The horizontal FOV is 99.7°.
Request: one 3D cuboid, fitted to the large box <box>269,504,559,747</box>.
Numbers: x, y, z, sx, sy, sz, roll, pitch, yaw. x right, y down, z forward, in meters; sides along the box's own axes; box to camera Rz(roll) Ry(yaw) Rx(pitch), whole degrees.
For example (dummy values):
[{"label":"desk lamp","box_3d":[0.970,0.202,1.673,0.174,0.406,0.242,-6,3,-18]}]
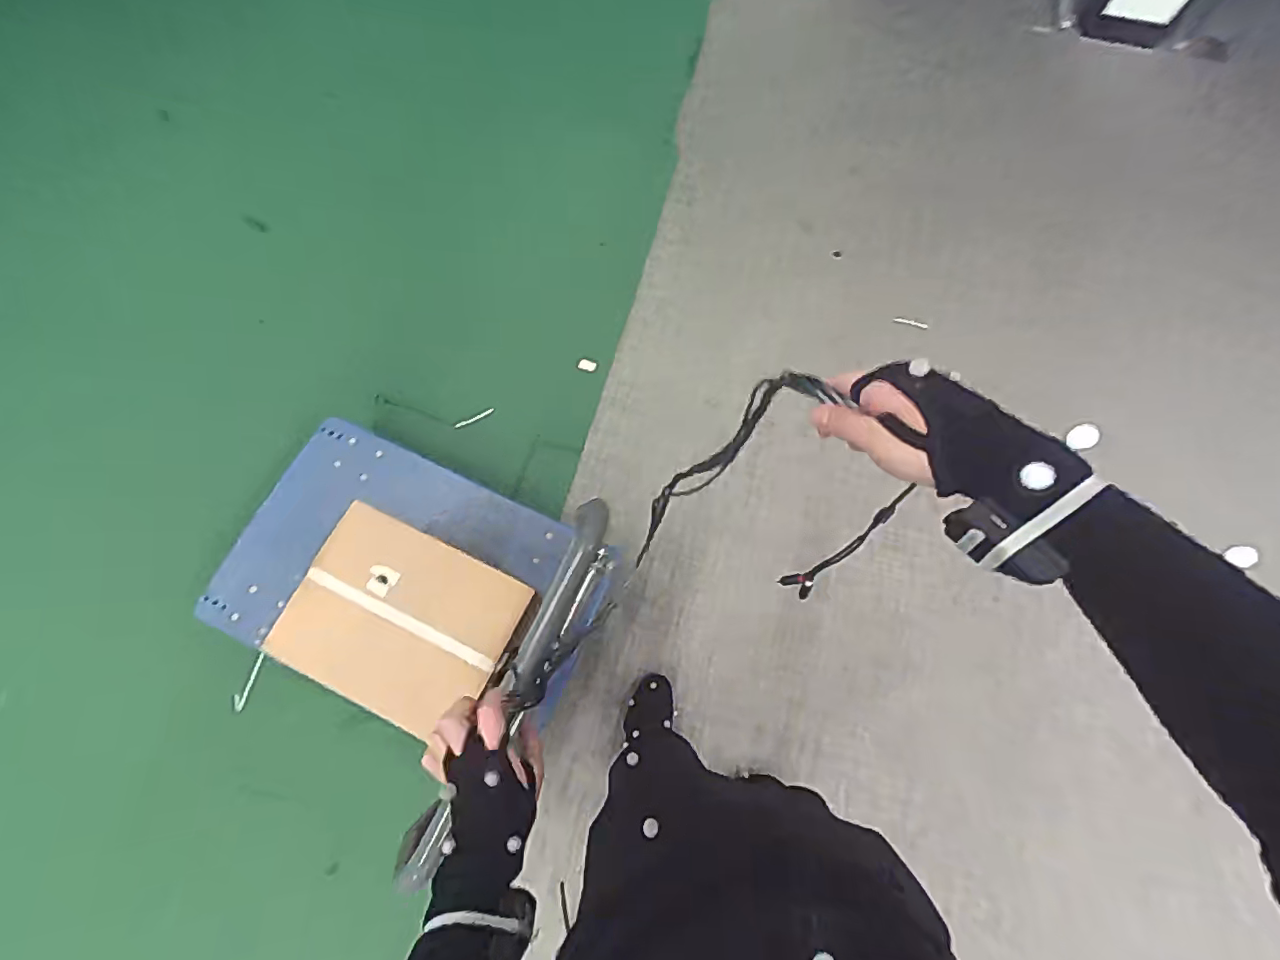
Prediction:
[{"label":"large box","box_3d":[-0.432,0.297,1.139,0.408,0.320,0.320,24,74,8]}]
